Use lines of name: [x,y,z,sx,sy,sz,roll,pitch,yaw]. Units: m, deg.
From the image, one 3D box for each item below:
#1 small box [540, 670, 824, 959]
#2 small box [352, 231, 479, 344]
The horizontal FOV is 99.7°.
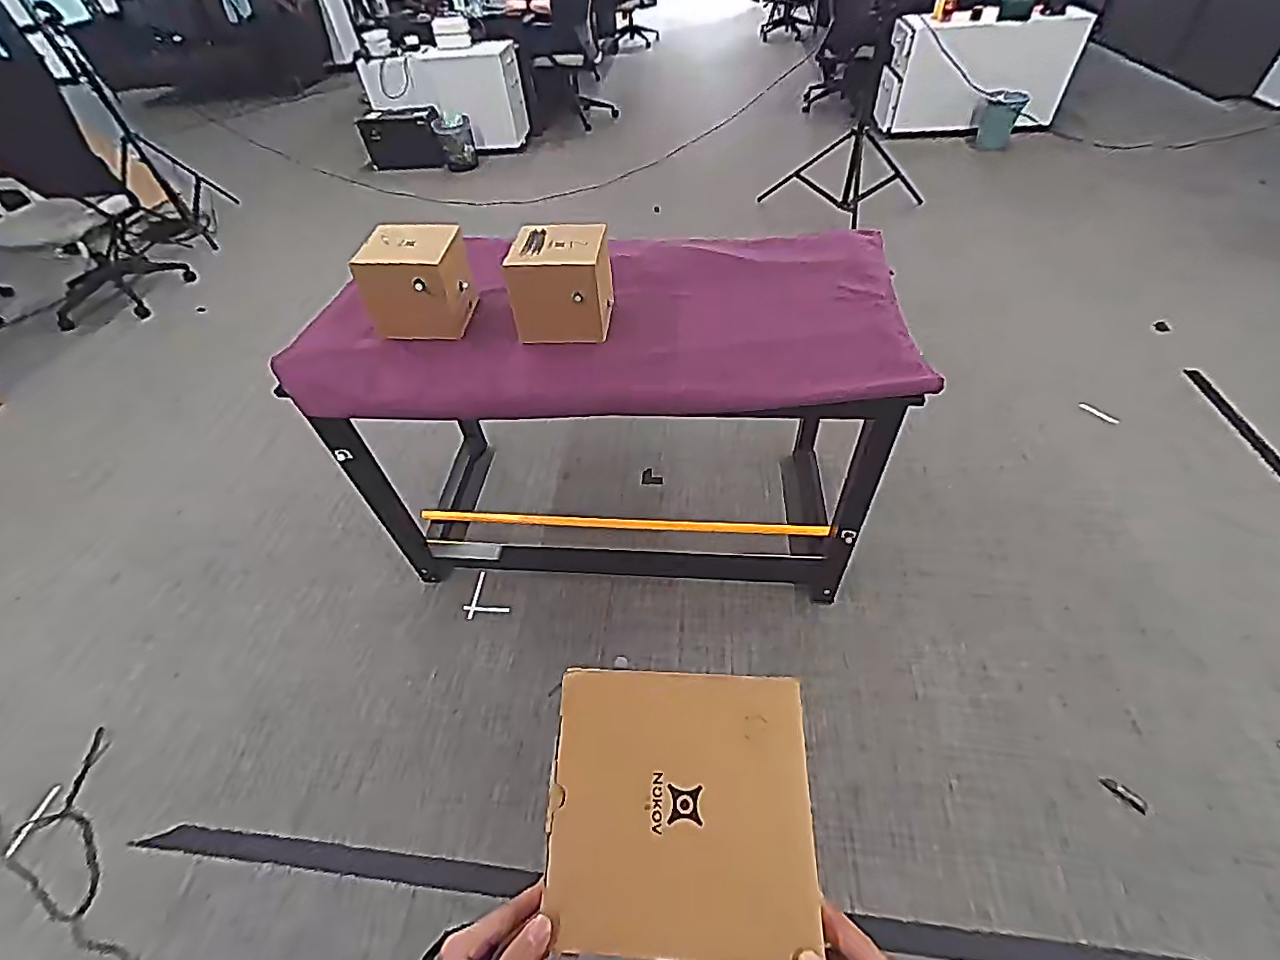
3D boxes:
small box: [0.034,0.253,0.435,0.179,0.176,0.168,-1,62,6]
small box: [-0.454,-0.399,1.131,0.179,0.176,0.168,1,48,3]
